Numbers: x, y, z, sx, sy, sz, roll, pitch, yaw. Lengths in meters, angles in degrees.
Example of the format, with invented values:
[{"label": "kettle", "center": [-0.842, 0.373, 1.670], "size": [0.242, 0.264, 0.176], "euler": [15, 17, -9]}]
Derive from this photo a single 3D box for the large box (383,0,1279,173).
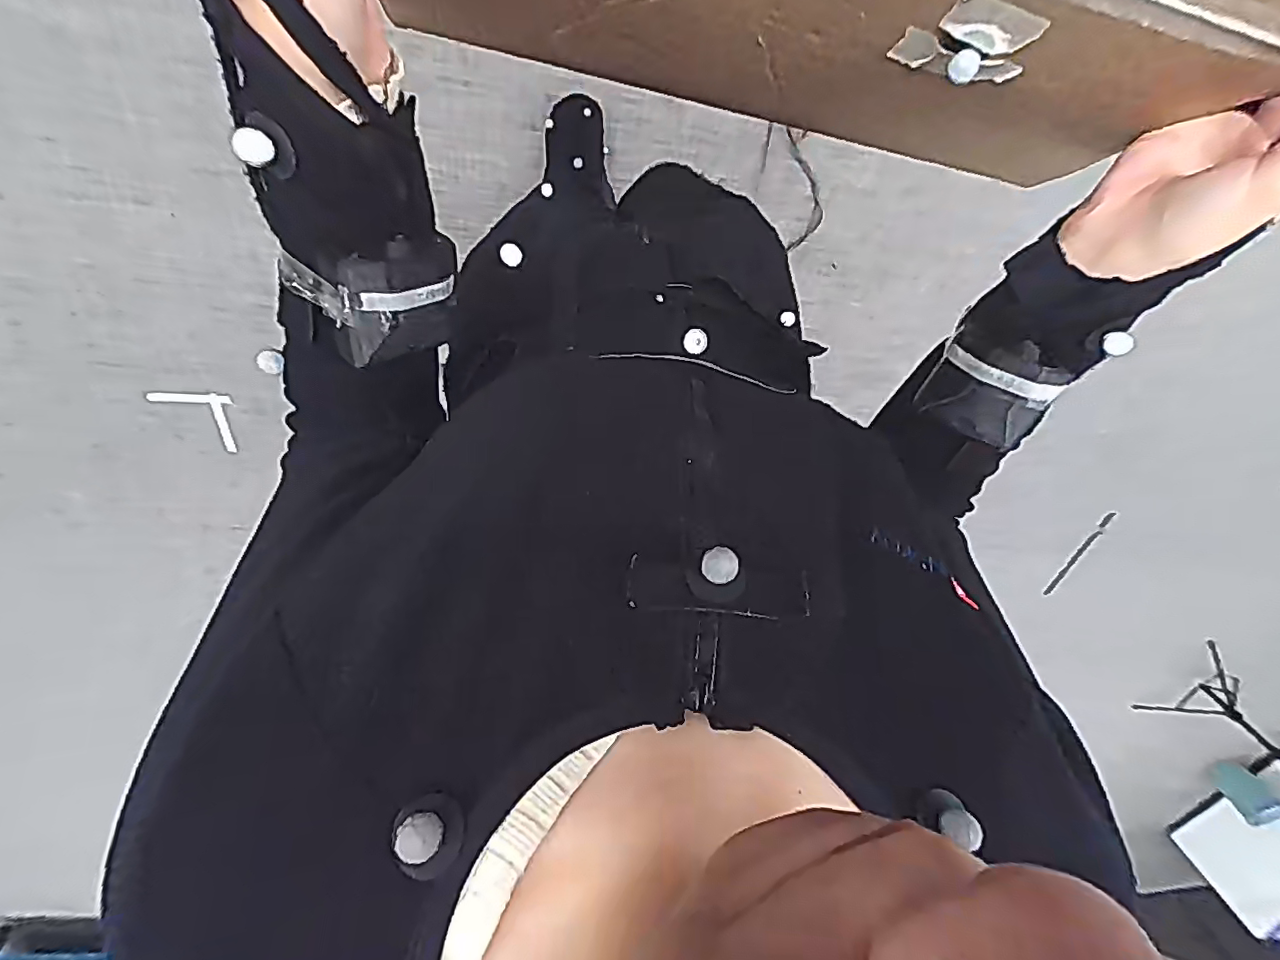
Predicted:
[{"label": "large box", "center": [0.100, -0.345, 0.158], "size": [0.408, 0.320, 0.320], "euler": [6, 101, -10]}]
